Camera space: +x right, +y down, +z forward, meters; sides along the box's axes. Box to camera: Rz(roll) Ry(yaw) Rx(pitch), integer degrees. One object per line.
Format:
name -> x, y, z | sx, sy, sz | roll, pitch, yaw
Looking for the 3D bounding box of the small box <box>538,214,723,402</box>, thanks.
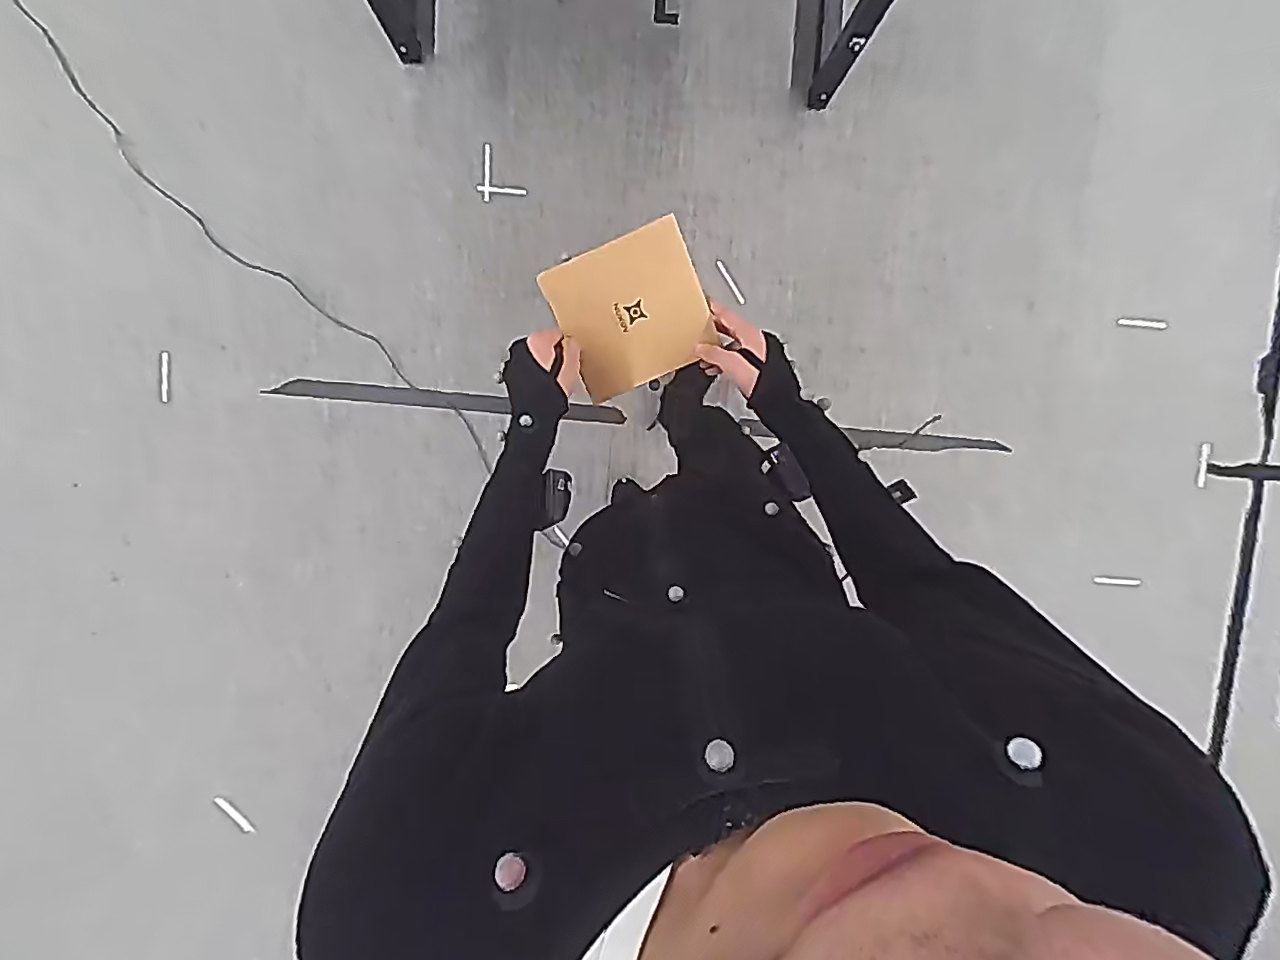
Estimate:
small box -> -0.012, -0.222, 0.712 | 0.179, 0.176, 0.168 | -23, 106, 6
